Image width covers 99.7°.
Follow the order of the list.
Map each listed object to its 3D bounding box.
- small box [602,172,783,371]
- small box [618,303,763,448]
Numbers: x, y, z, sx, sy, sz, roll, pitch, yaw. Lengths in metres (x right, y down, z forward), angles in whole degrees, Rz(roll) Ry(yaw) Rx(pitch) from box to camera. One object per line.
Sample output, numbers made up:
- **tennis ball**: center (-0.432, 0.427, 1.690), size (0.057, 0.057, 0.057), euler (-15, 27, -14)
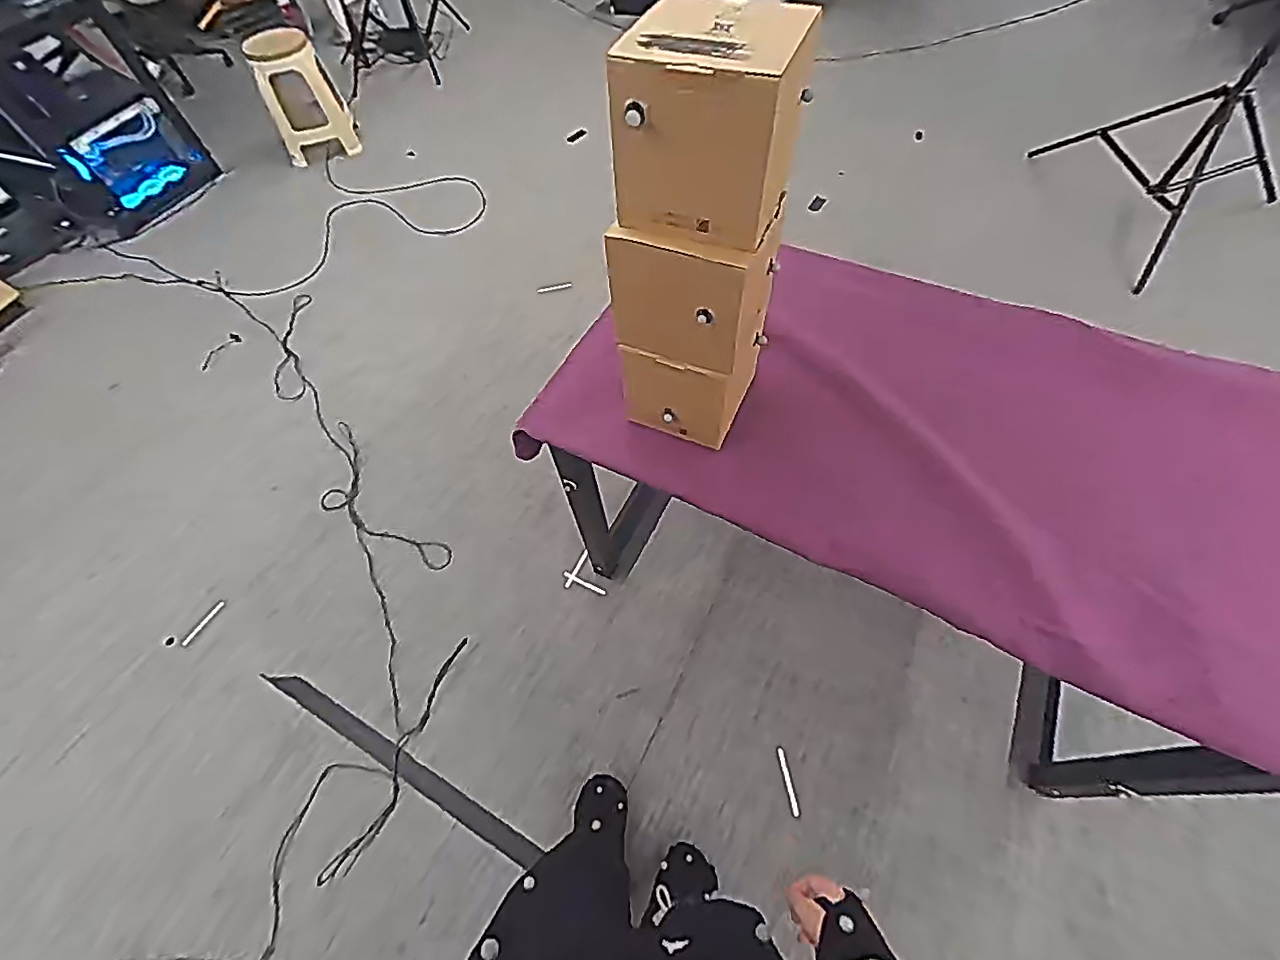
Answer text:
- **small box**: center (0.069, -0.269, 0.716), size (0.179, 0.176, 0.168), euler (19, 60, 15)
- **small box**: center (0.079, -0.183, 0.853), size (0.168, 0.176, 0.179), euler (20, 62, 16)
